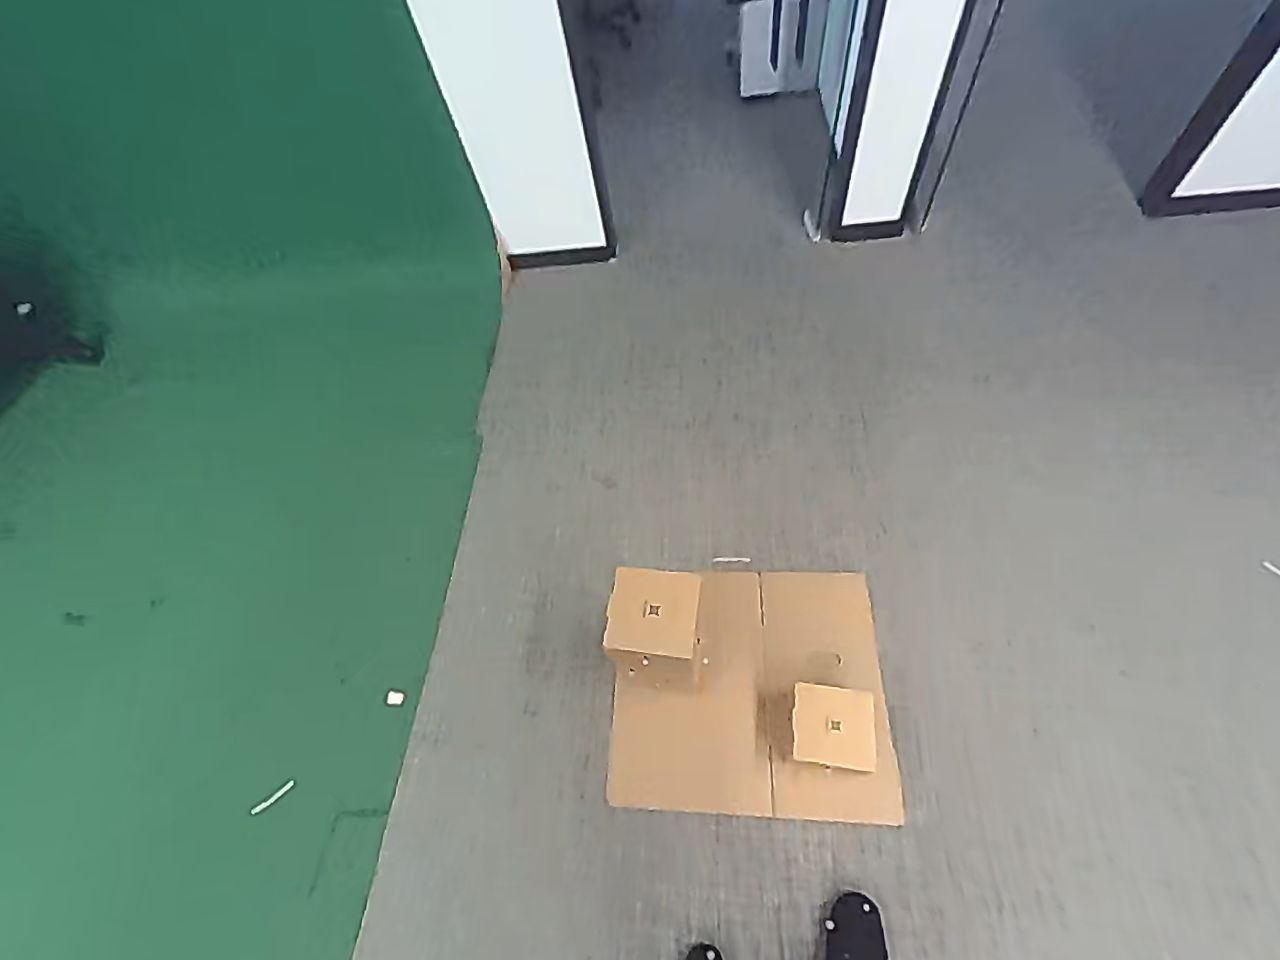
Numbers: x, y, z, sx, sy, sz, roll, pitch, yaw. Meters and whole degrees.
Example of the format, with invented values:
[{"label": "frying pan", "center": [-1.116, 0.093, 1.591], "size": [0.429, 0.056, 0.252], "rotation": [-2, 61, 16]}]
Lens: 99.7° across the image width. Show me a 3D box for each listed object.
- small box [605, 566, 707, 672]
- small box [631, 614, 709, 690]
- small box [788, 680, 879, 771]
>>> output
[{"label": "small box", "center": [0.041, 0.293, 1.127], "size": [0.179, 0.176, 0.168], "rotation": [5, 61, 12]}, {"label": "small box", "center": [0.084, 0.443, 1.415], "size": [0.179, 0.176, 0.168], "rotation": [3, 60, 10]}, {"label": "small box", "center": [0.450, 0.581, 1.275], "size": [0.179, 0.176, 0.168], "rotation": [3, 60, 12]}]
